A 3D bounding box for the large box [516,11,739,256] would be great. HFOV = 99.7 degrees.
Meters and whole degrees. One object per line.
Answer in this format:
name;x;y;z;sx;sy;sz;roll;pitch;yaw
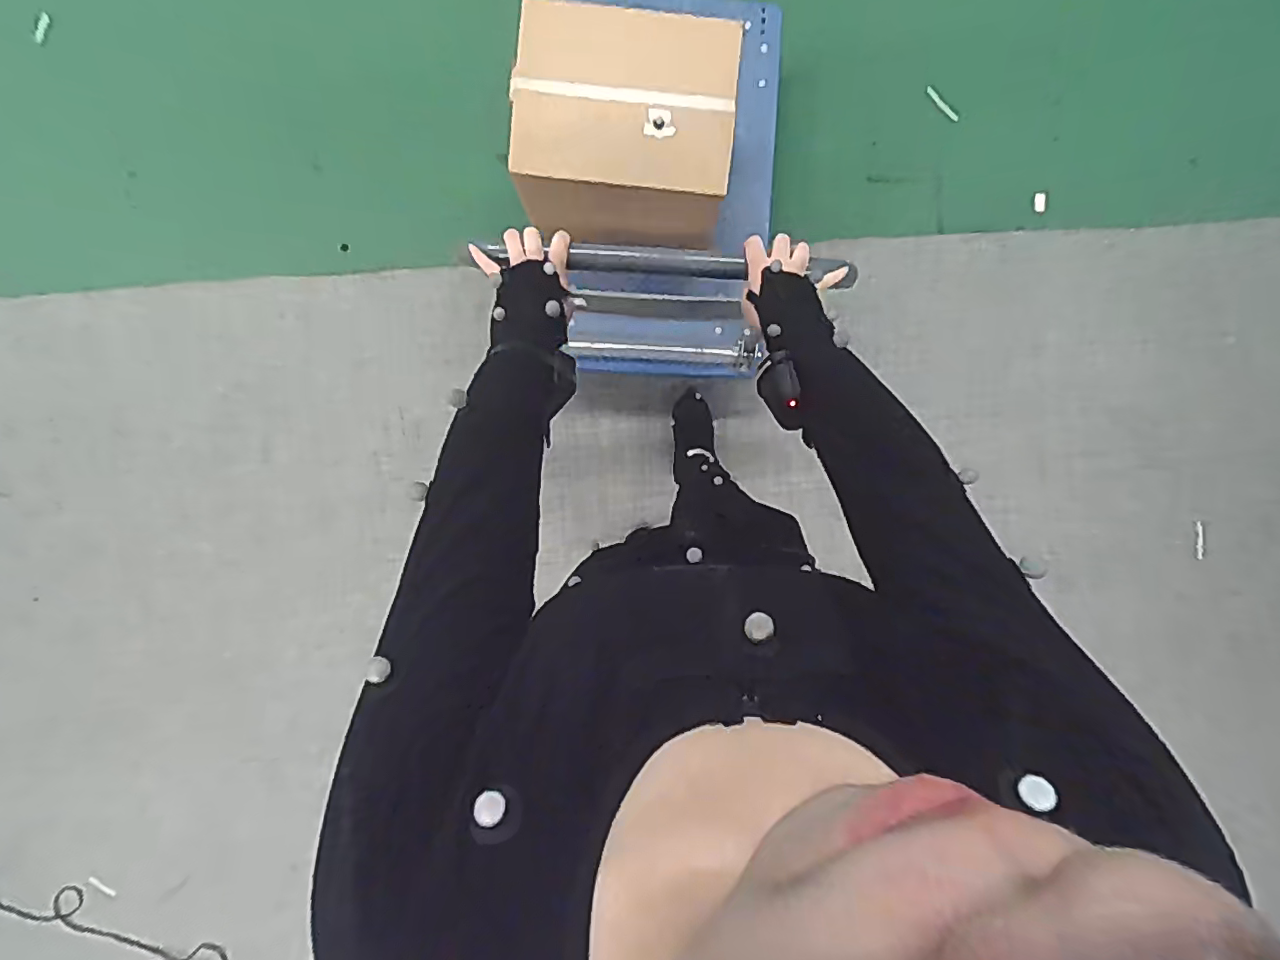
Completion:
large box;-0.029;-0.703;1.152;0.408;0.320;0.320;5;92;-2
